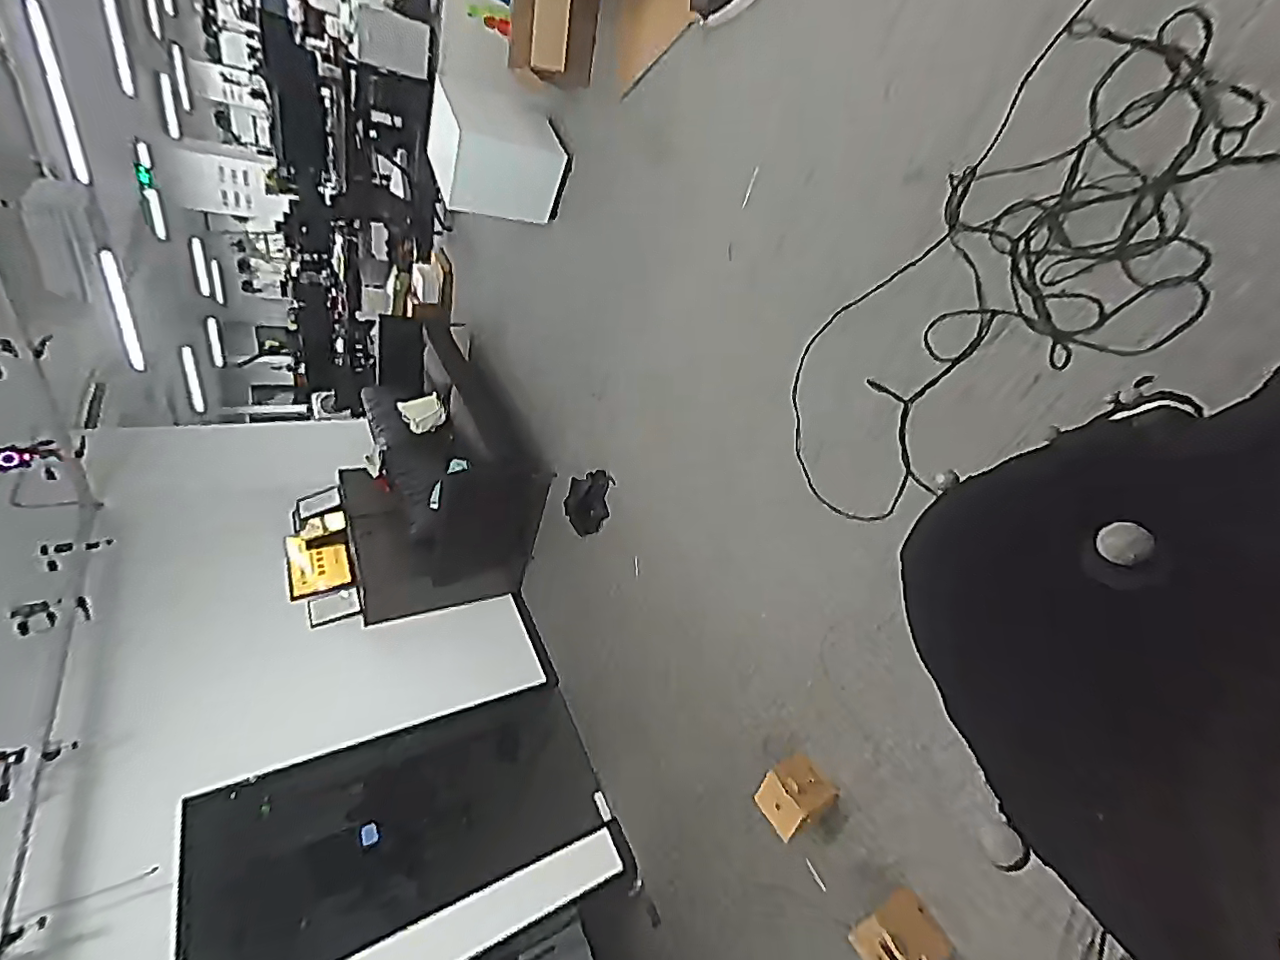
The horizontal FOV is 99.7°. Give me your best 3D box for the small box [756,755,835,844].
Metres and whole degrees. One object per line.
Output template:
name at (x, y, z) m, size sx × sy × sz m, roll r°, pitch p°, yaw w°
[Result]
small box at (0.529, 1.080, 1.836) m, size 0.168 × 0.176 × 0.179 m, roll 45°, pitch 131°, yaw 44°
